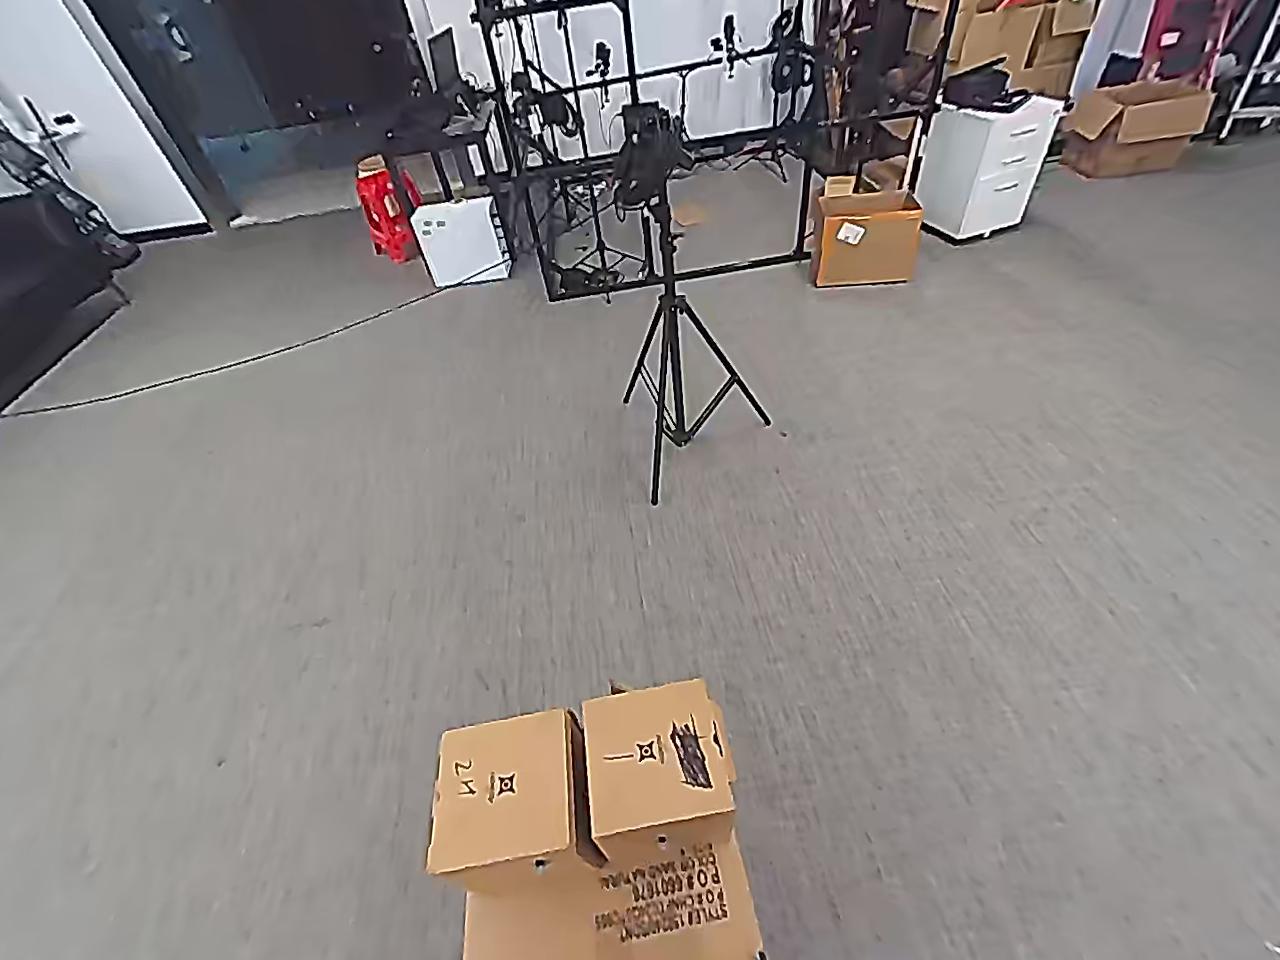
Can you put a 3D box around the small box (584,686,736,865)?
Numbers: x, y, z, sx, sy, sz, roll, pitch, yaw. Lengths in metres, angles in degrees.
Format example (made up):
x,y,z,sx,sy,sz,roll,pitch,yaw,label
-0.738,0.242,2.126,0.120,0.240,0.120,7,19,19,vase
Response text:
x,y,z,sx,sy,sz,roll,pitch,yaw,label
0.025,0.412,0.753,0.179,0.176,0.168,-10,46,-2,small box

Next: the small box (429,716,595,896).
x,y,z,sx,sy,sz,roll,pitch,yaw,label
-0.161,0.451,0.745,0.179,0.176,0.168,-12,45,1,small box
